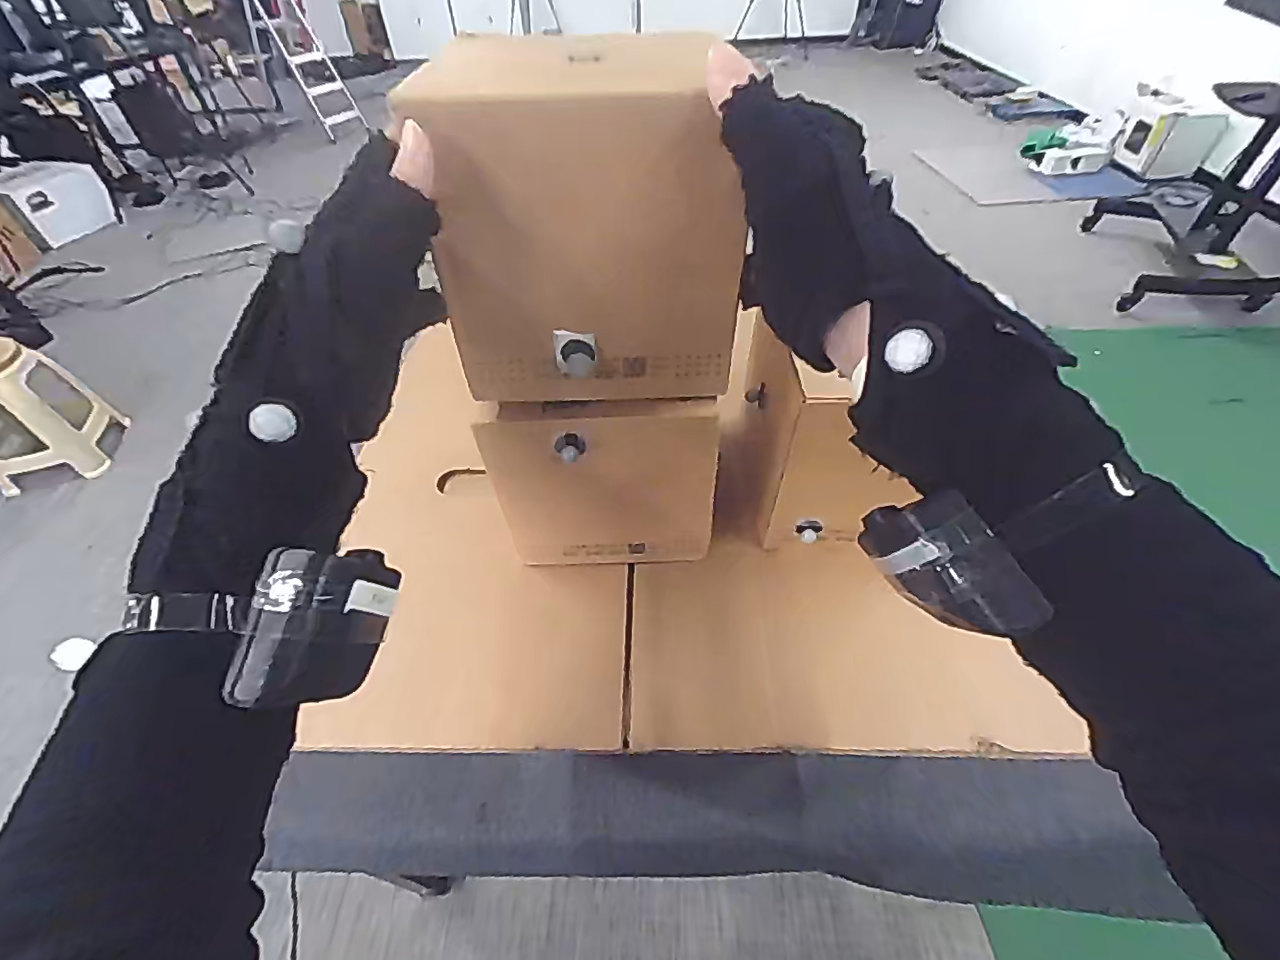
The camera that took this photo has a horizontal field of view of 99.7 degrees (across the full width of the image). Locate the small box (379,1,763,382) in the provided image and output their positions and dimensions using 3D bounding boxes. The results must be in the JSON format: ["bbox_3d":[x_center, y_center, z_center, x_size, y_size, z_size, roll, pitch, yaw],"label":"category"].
[{"bbox_3d":[-0.033,-0.181,0.341,0.168,0.176,0.179,-3,48,-2],"label":"small box"}]

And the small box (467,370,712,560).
[{"bbox_3d":[-0.029,-0.050,0.469,0.168,0.176,0.179,-2,47,3],"label":"small box"}]
